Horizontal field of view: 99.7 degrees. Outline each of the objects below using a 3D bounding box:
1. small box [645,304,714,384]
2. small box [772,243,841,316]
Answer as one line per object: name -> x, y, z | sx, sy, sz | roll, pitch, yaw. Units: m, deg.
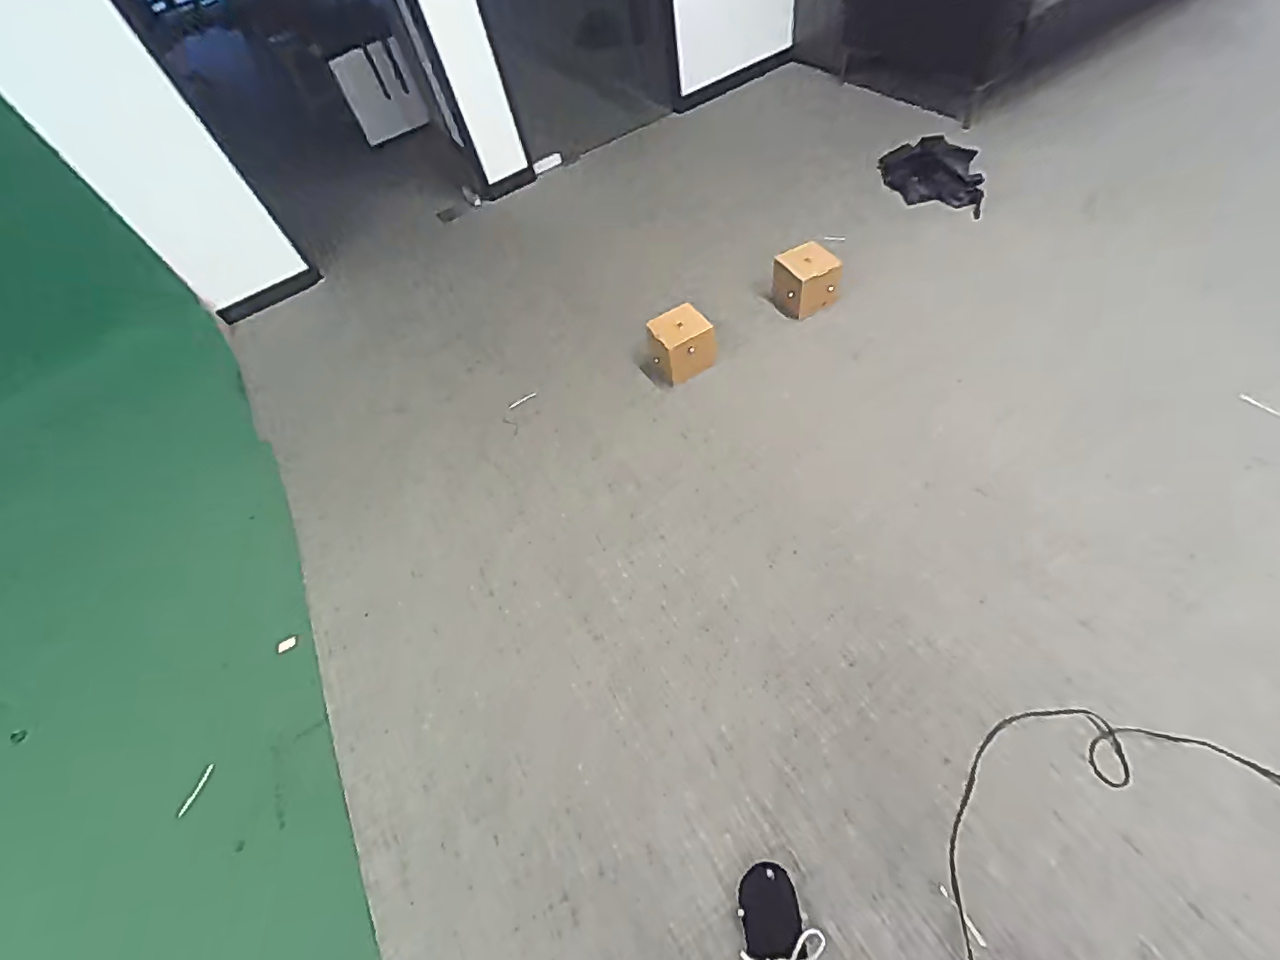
small box -> 0.138, -0.464, 1.857 | 0.179, 0.176, 0.168 | -29, 55, -9
small box -> 0.591, -0.712, 1.943 | 0.168, 0.176, 0.179 | -25, 54, -8
